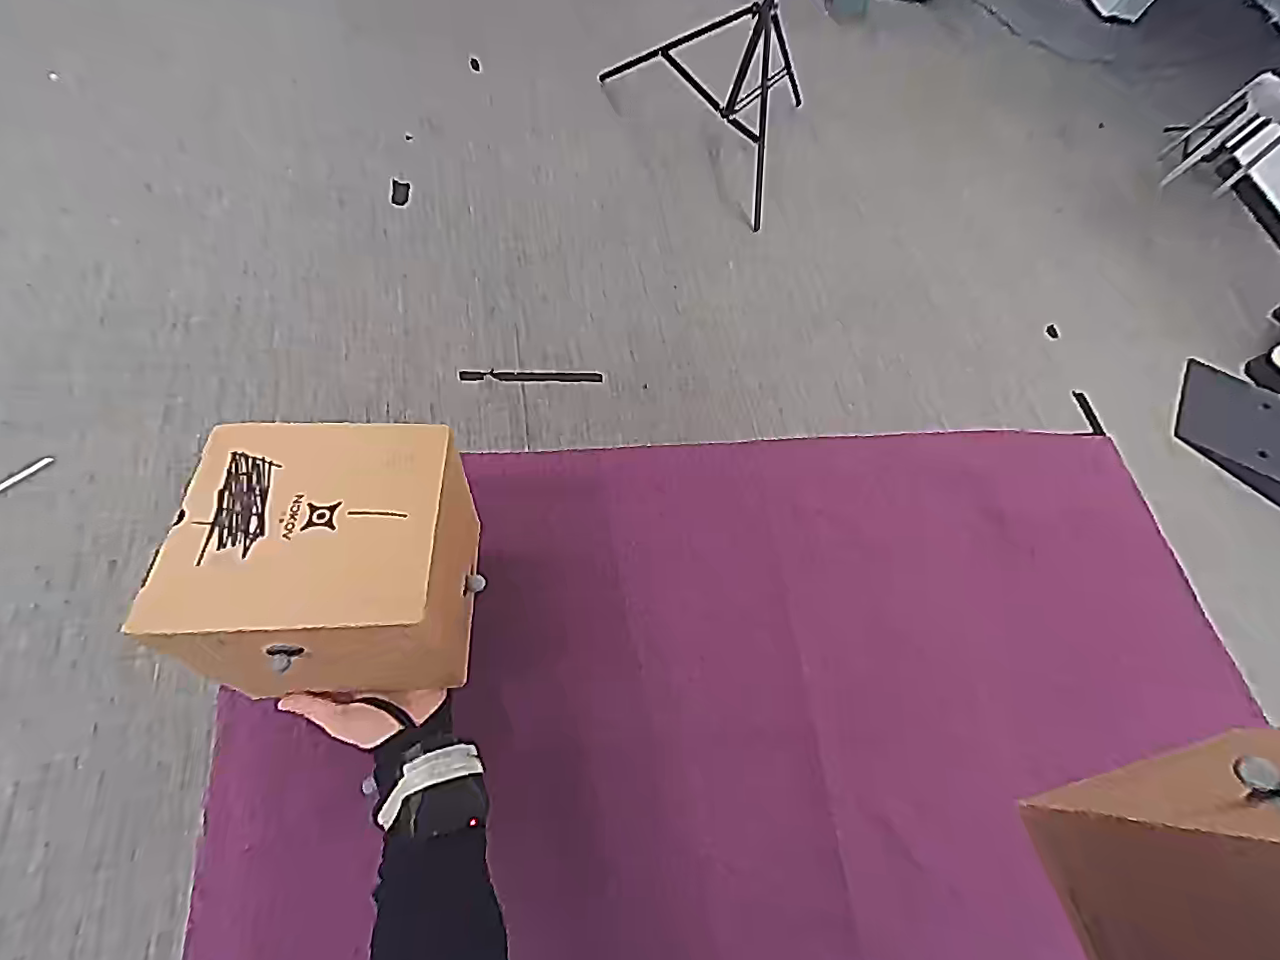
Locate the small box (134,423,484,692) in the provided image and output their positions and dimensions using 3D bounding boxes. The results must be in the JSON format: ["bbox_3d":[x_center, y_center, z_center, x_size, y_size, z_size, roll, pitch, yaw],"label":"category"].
[{"bbox_3d":[-0.236,0.069,0.447,0.179,0.176,0.168,-1,56,-8],"label":"small box"}]
